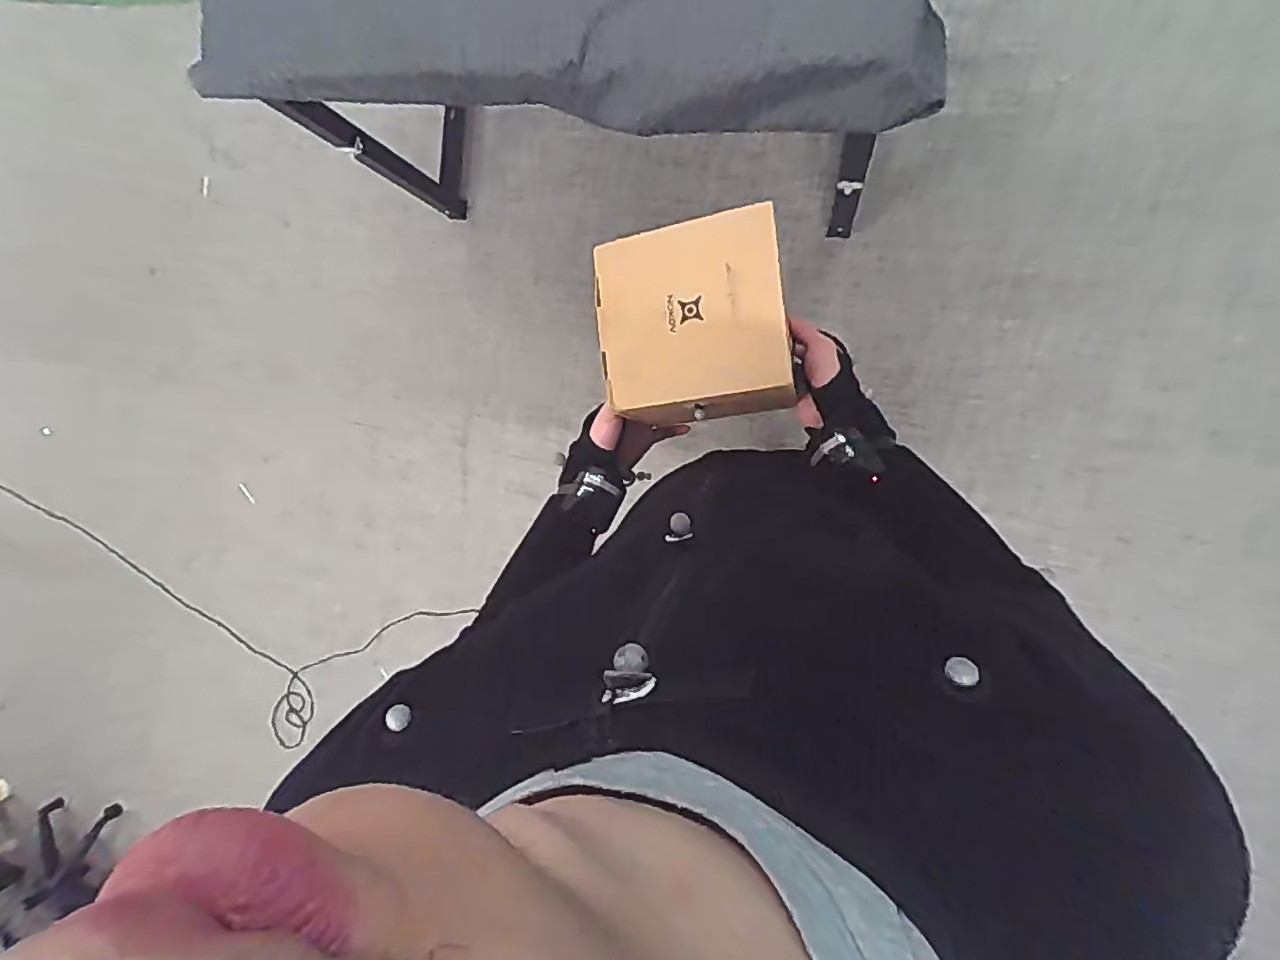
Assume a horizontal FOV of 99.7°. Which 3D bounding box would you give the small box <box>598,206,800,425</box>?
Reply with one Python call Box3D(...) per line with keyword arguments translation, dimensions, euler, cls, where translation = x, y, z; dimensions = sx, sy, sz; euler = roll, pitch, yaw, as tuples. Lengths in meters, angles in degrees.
Box3D(translation=(0.072, -0.155, 0.577), dimensions=(0.179, 0.176, 0.168), euler=(-6, 89, 18), cls="small box")
